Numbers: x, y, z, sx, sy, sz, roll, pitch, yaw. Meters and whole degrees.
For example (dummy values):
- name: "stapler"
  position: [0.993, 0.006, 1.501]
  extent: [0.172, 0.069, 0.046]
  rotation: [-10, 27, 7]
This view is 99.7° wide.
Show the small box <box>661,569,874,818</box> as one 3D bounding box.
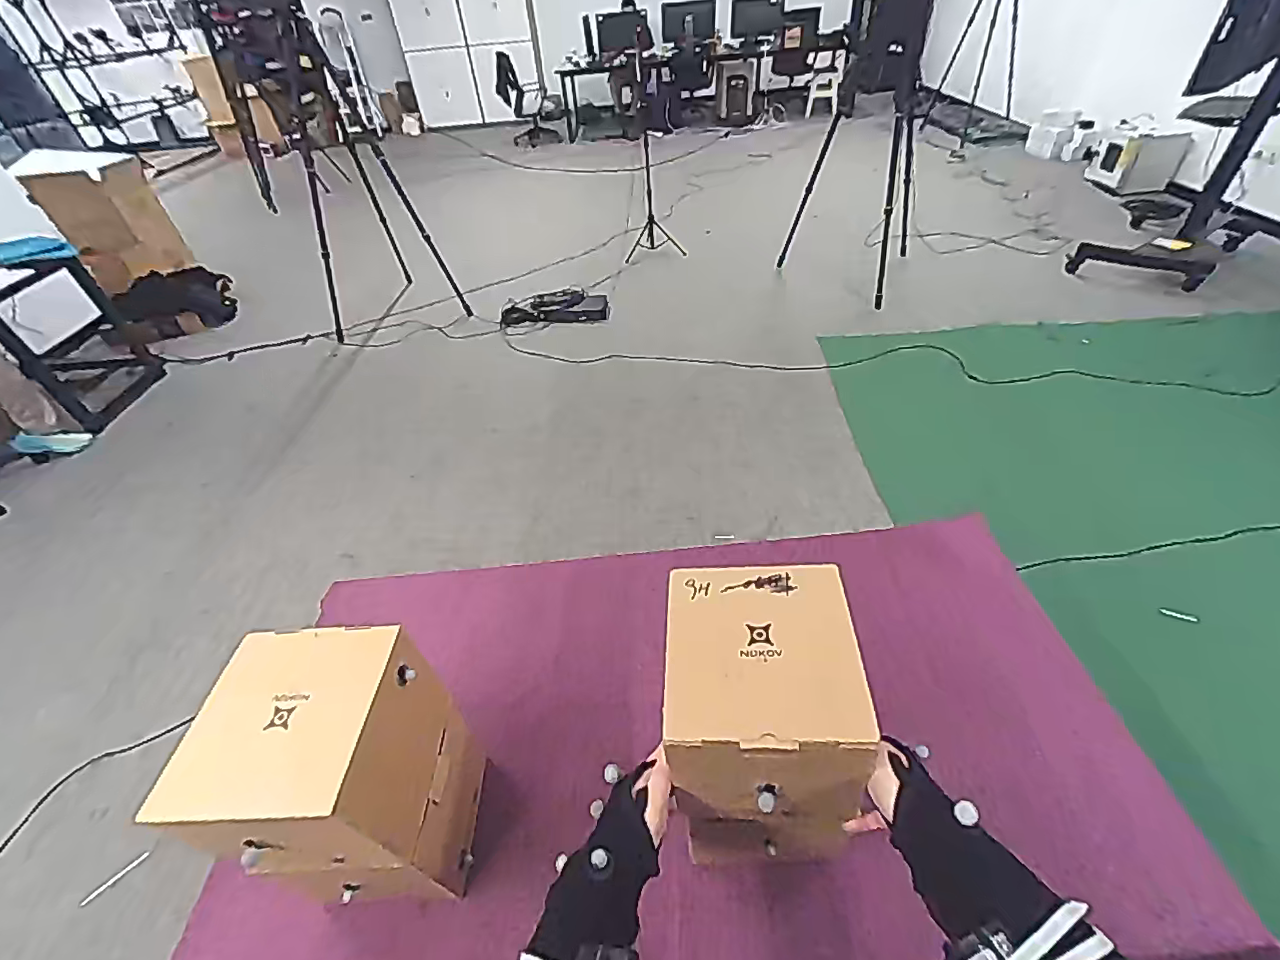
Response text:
- name: "small box"
  position: [0.115, 0.209, 0.528]
  extent: [0.168, 0.176, 0.179]
  rotation: [-3, 42, 8]

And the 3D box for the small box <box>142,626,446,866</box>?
- name: "small box"
  position: [-0.316, 0.271, 0.547]
  extent: [0.168, 0.176, 0.179]
  rotation: [-3, 42, 3]

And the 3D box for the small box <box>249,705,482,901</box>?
- name: "small box"
  position: [-0.306, 0.392, 0.656]
  extent: [0.179, 0.176, 0.168]
  rotation: [-5, 42, 2]
